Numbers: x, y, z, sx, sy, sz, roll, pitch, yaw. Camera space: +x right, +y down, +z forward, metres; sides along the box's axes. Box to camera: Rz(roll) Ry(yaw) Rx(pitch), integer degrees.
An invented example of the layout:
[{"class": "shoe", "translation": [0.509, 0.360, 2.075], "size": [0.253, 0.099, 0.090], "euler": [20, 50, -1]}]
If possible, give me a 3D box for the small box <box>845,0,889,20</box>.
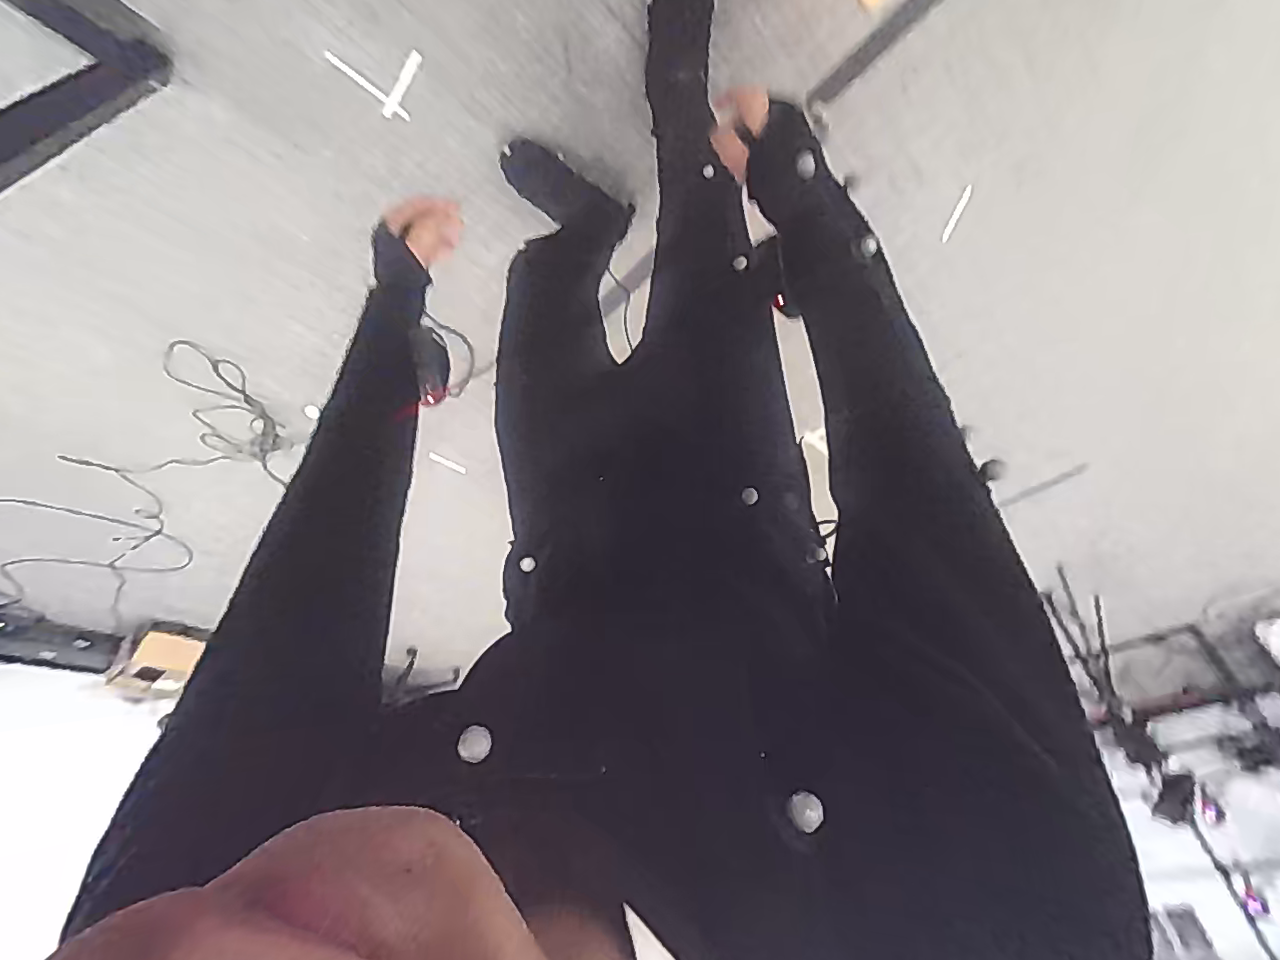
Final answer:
[{"class": "small box", "translation": [0.297, -0.753, 0.684], "size": [0.168, 0.176, 0.179], "euler": [24, 133, -31]}]
